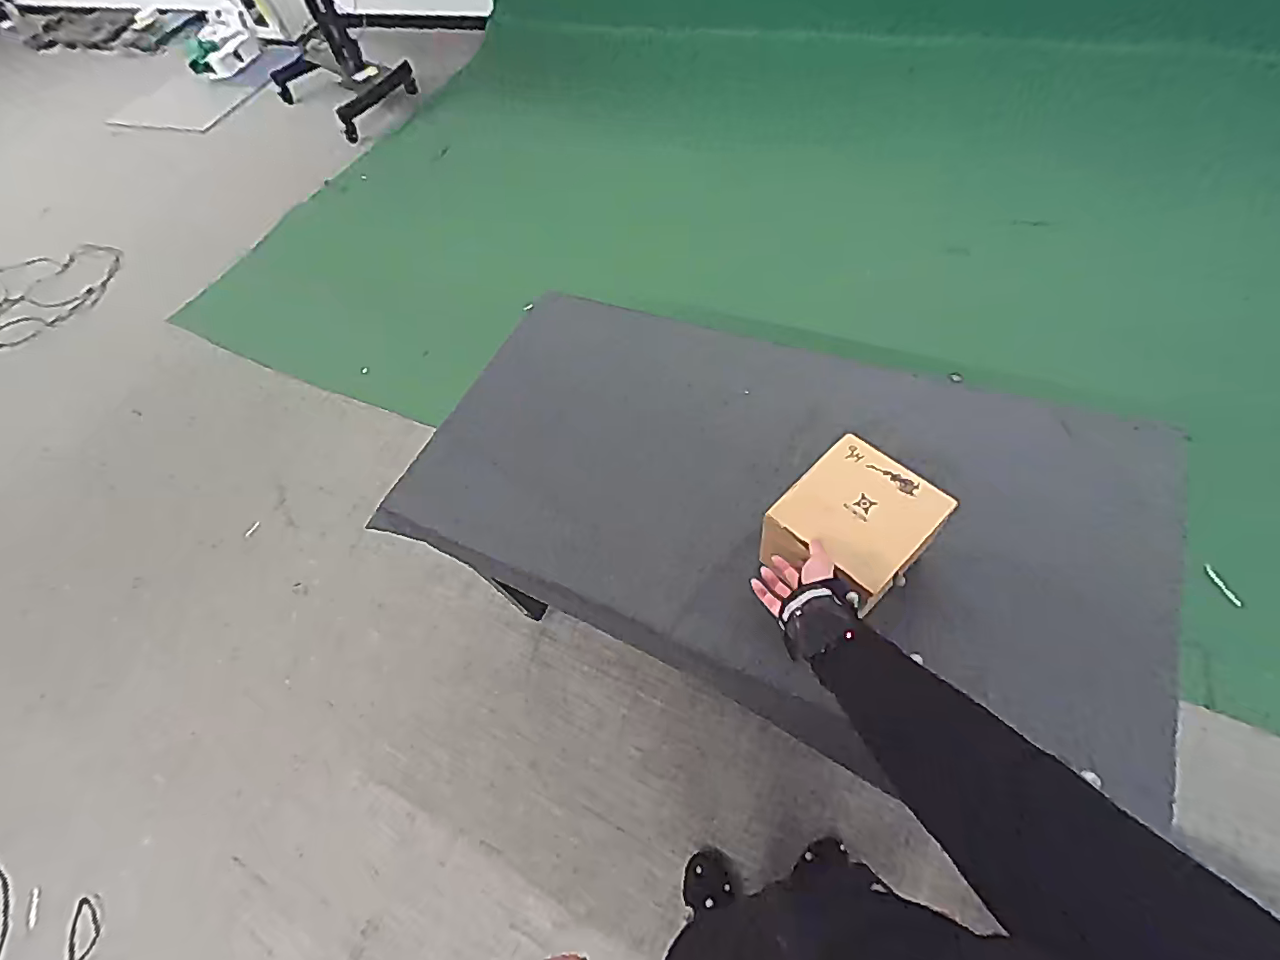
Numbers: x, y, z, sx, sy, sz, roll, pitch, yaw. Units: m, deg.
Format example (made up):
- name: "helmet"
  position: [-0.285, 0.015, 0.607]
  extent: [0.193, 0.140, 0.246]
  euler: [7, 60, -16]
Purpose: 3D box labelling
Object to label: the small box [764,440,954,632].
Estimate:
- name: "small box"
  position: [0.294, 0.085, 0.761]
  extent: [0.179, 0.176, 0.168]
  euler: [-41, 61, -14]
